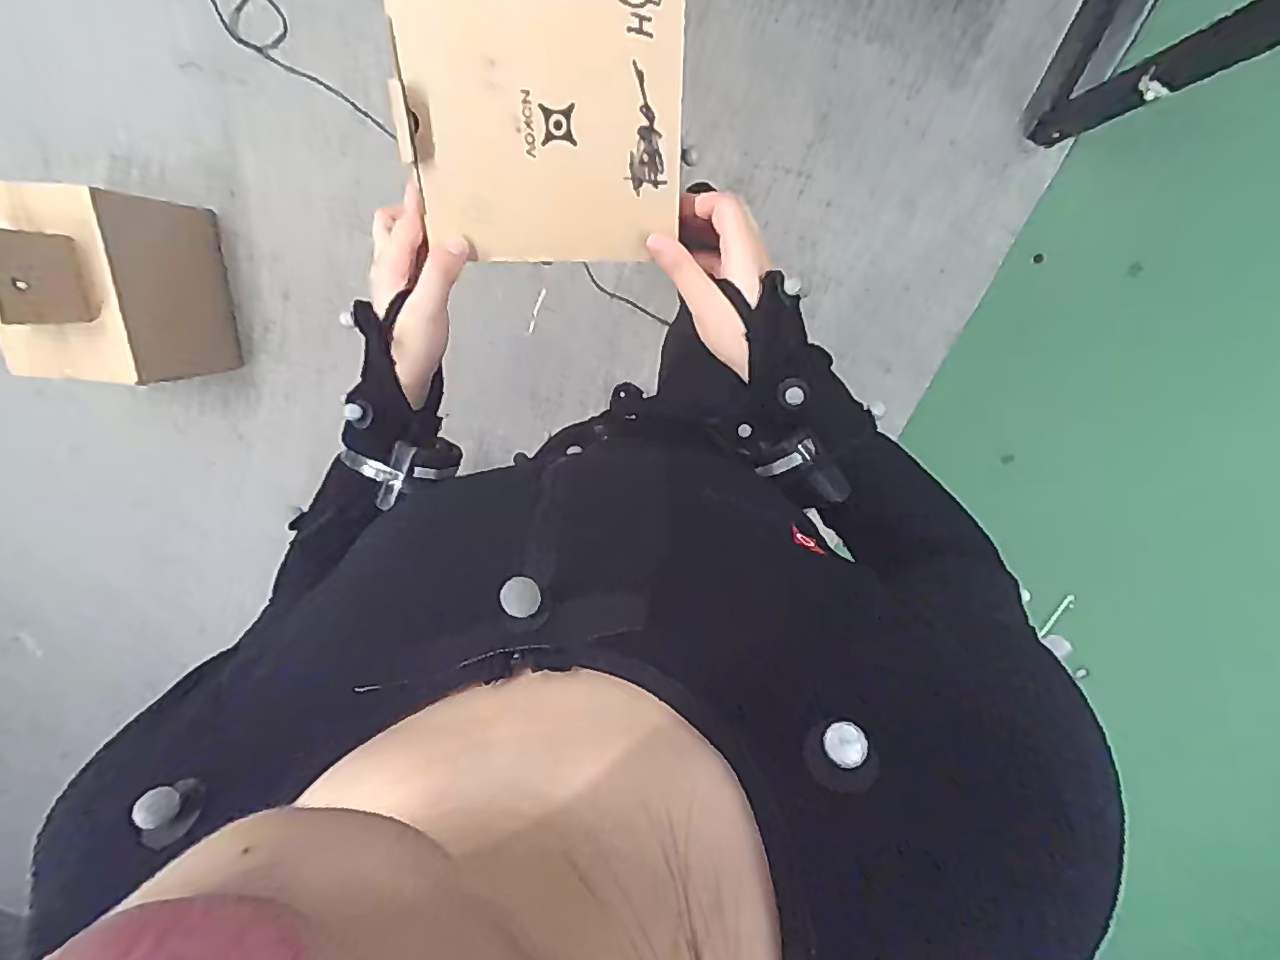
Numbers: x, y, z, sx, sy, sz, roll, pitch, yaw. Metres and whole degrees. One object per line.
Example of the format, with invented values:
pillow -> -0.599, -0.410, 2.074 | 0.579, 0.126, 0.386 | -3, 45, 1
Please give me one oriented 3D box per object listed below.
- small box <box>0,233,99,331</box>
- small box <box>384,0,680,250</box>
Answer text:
small box -> -1.250, -0.397, 1.080 | 0.168, 0.176, 0.179 | 4, 108, 2
small box -> -0.062, -0.274, 0.410 | 0.179, 0.176, 0.168 | 1, 120, 1
